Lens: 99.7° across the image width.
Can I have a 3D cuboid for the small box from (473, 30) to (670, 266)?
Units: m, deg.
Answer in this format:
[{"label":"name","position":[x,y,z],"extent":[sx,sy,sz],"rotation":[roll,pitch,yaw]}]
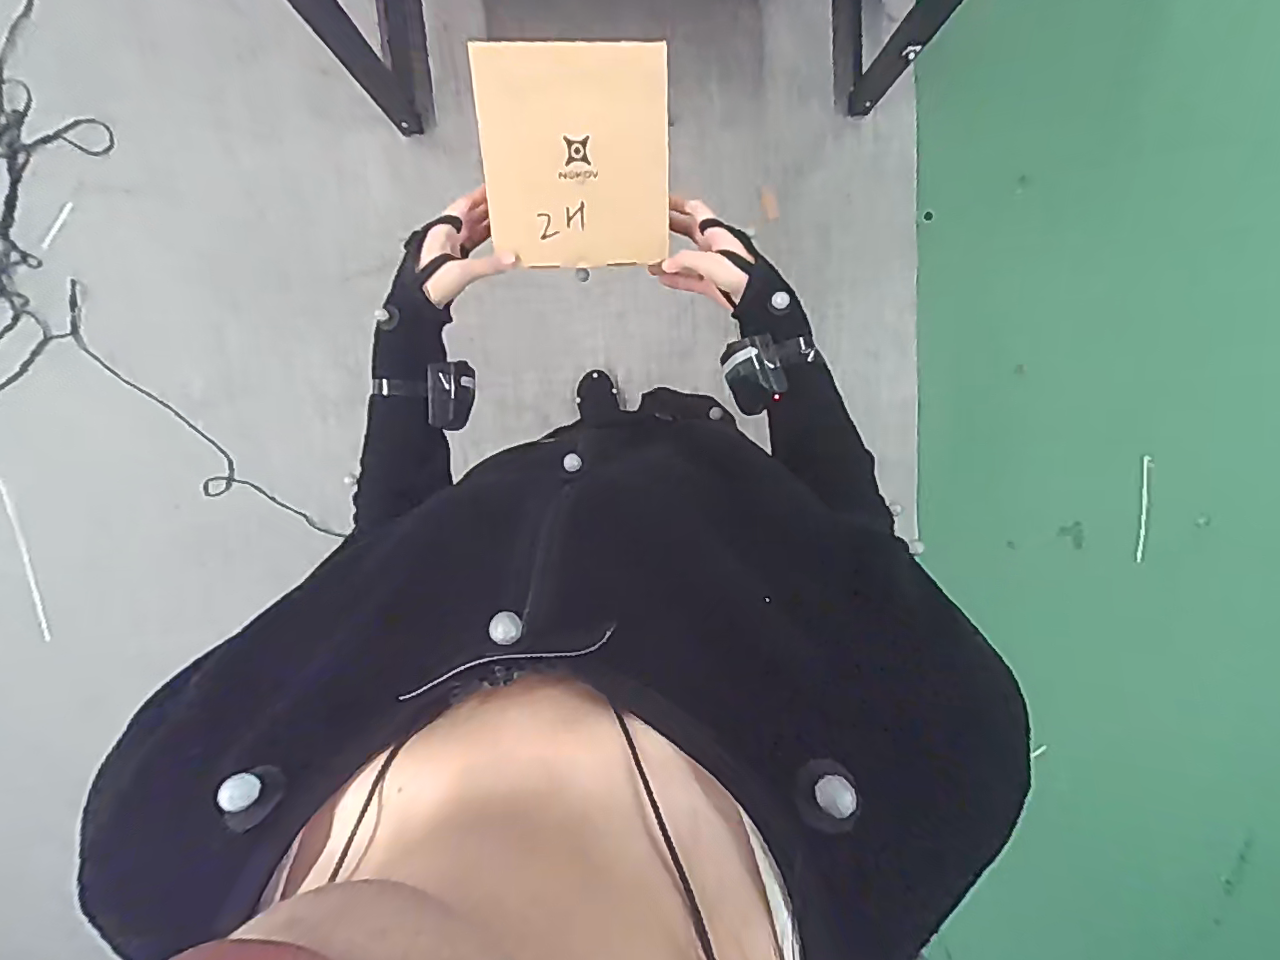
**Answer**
[{"label":"small box","position":[-0.063,-0.314,0.548],"extent":[0.168,0.176,0.179],"rotation":[-3,112,-4]}]
